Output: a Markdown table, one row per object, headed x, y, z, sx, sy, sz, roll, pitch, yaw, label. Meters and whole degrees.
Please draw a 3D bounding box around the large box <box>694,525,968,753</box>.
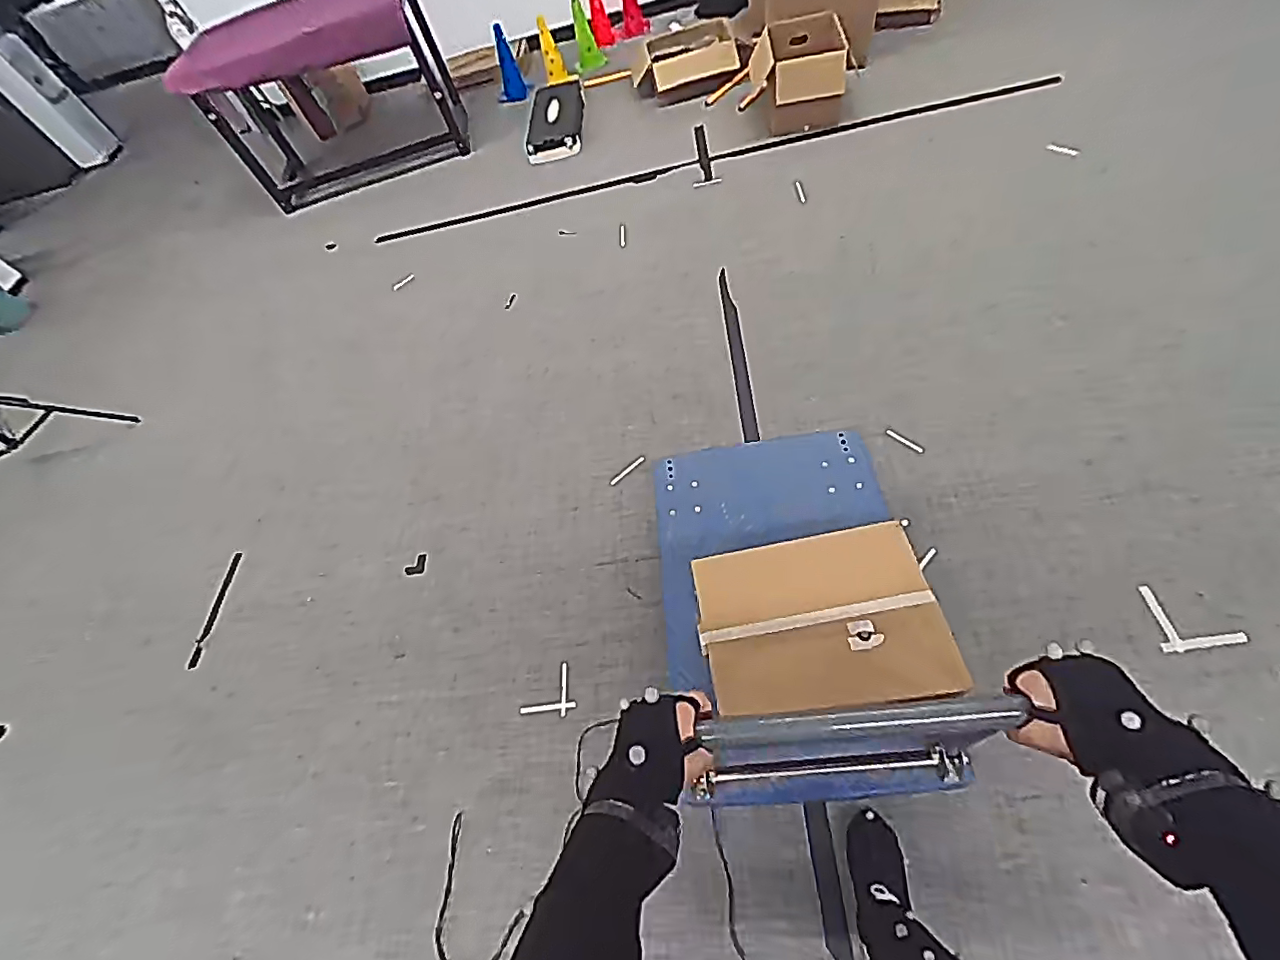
| x | y | z | sx | sy | sz | roll | pitch | yaw | label |
| --- | --- | --- | --- | --- | --- | --- | --- | --- | --- |
| 0.344 | 0.333 | 1.088 | 0.408 | 0.320 | 0.320 | -12 | 57 | 5 | large box |
